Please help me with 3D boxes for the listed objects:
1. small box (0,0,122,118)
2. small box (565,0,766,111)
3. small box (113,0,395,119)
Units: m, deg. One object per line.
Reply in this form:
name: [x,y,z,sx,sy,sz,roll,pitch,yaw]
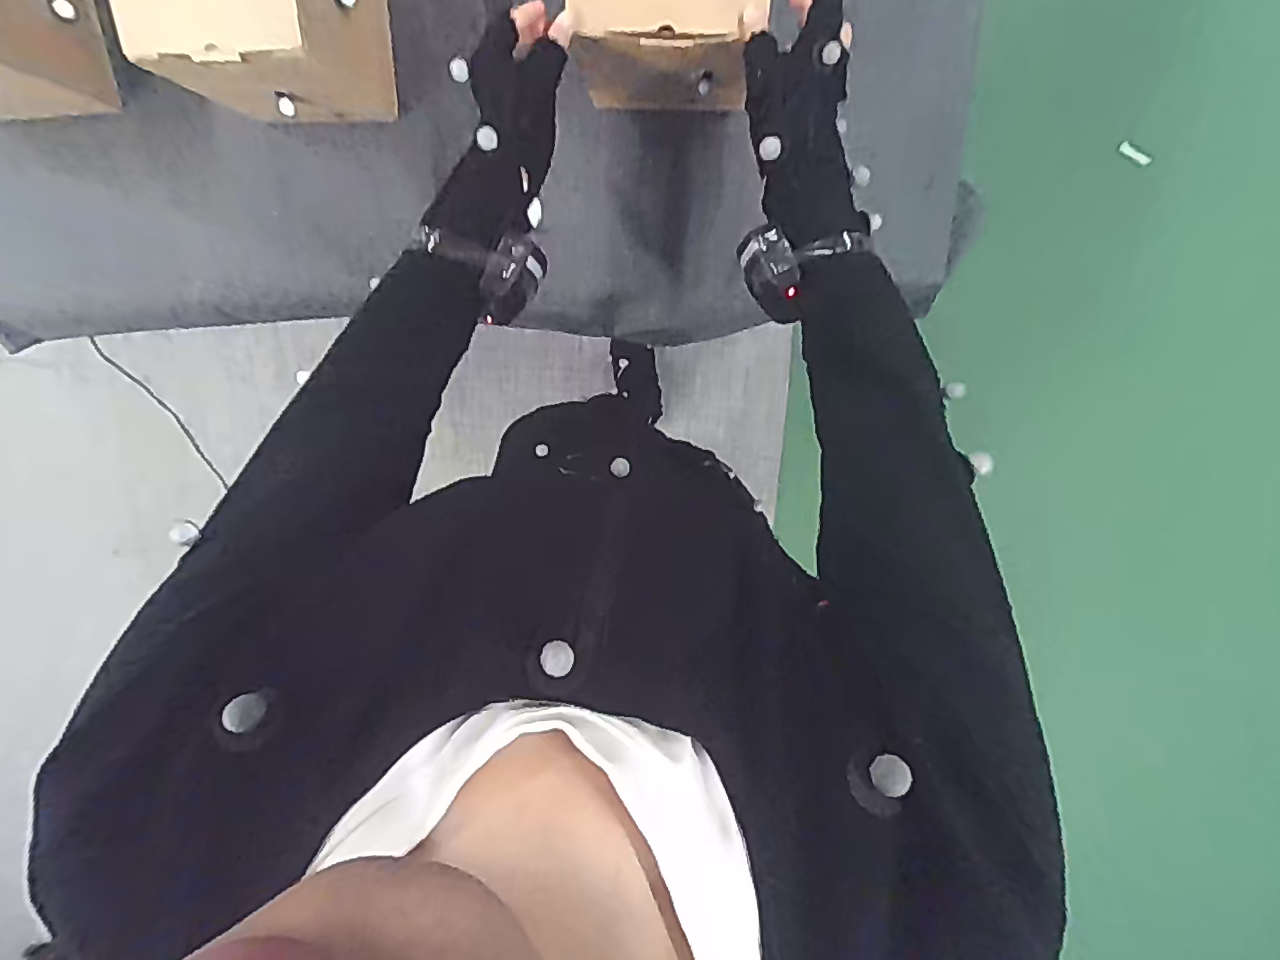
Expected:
small box: [-0.686,-0.477,0.530,0.179,0.176,0.168,-1,107,3]
small box: [0.028,-0.461,0.491,0.168,0.176,0.179,2,106,3]
small box: [-0.355,-0.465,0.514,0.168,0.176,0.179,1,107,3]
